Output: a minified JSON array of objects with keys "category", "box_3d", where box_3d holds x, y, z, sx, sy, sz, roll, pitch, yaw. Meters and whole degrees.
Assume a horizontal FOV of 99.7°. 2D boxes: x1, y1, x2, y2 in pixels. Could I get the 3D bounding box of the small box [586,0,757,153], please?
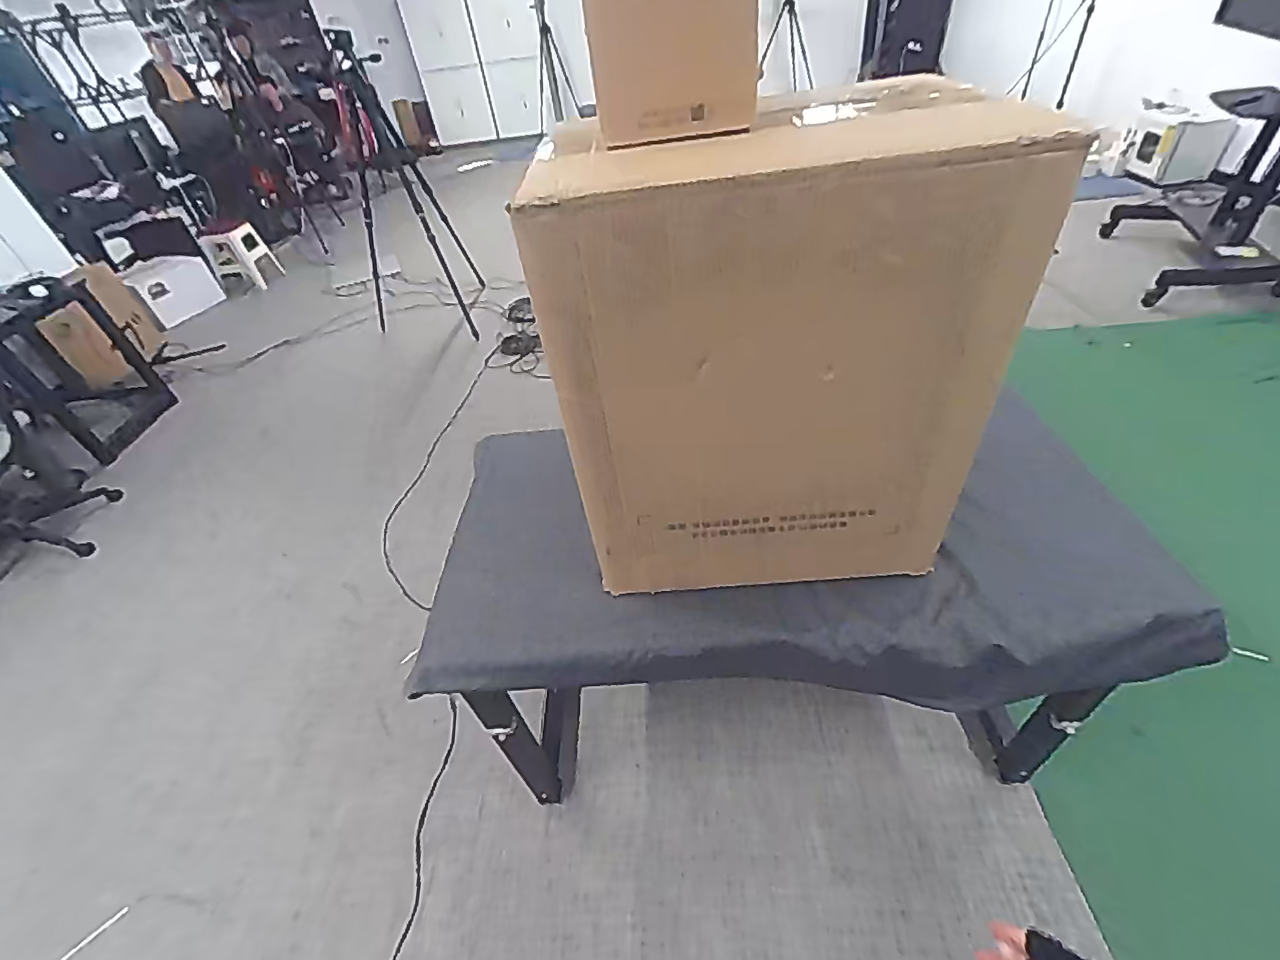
[{"category":"small box","box_3d":[0.036,-0.476,0.598,0.168,0.176,0.179,-4,40,7]}]
